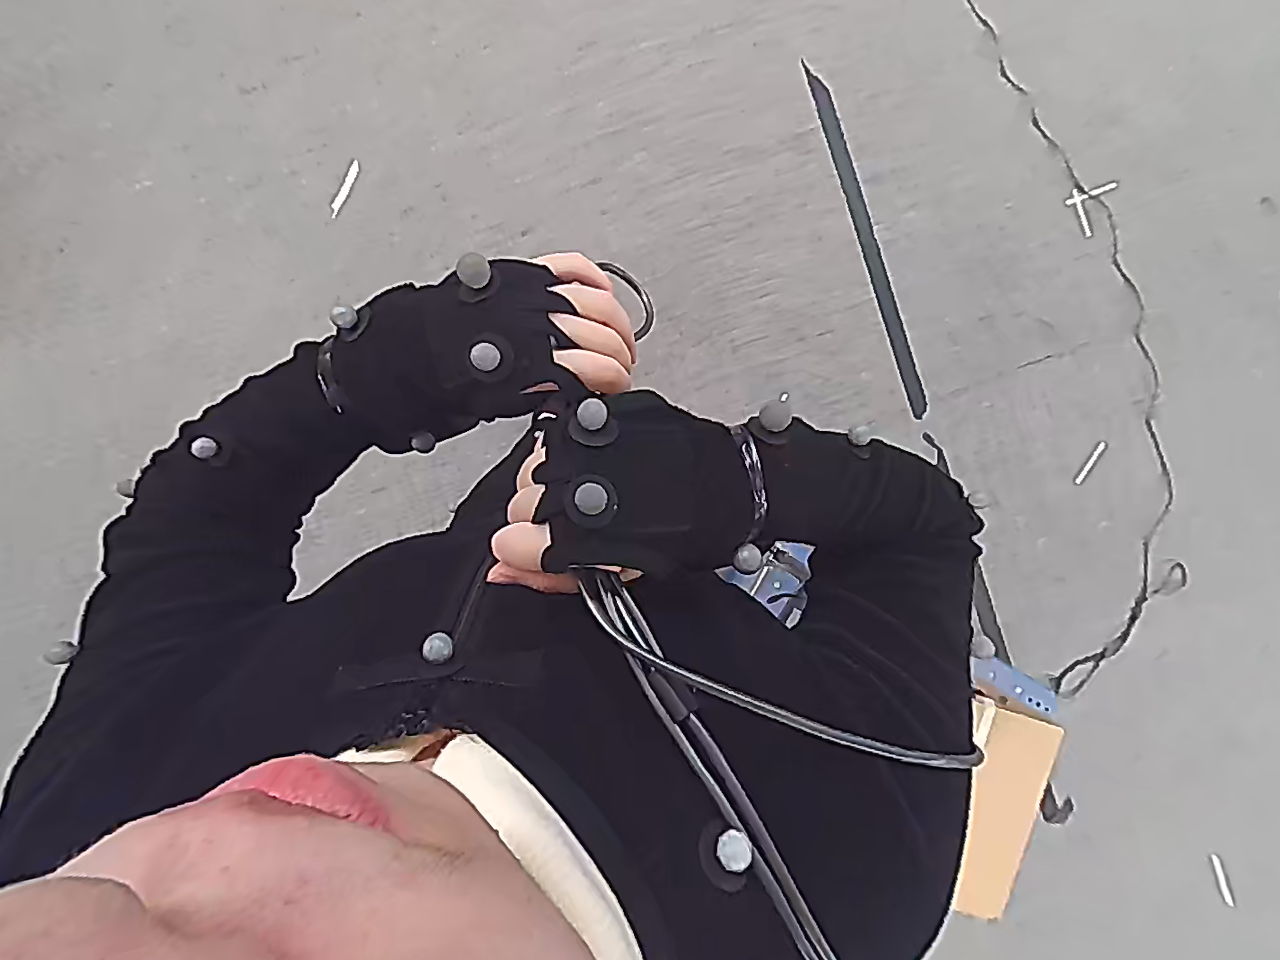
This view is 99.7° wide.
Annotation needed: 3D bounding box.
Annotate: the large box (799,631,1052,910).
[{"bbox_3d":[0.596,0.604,1.197,0.320,0.320,0.408,18,92,-1],"label":"large box"}]
